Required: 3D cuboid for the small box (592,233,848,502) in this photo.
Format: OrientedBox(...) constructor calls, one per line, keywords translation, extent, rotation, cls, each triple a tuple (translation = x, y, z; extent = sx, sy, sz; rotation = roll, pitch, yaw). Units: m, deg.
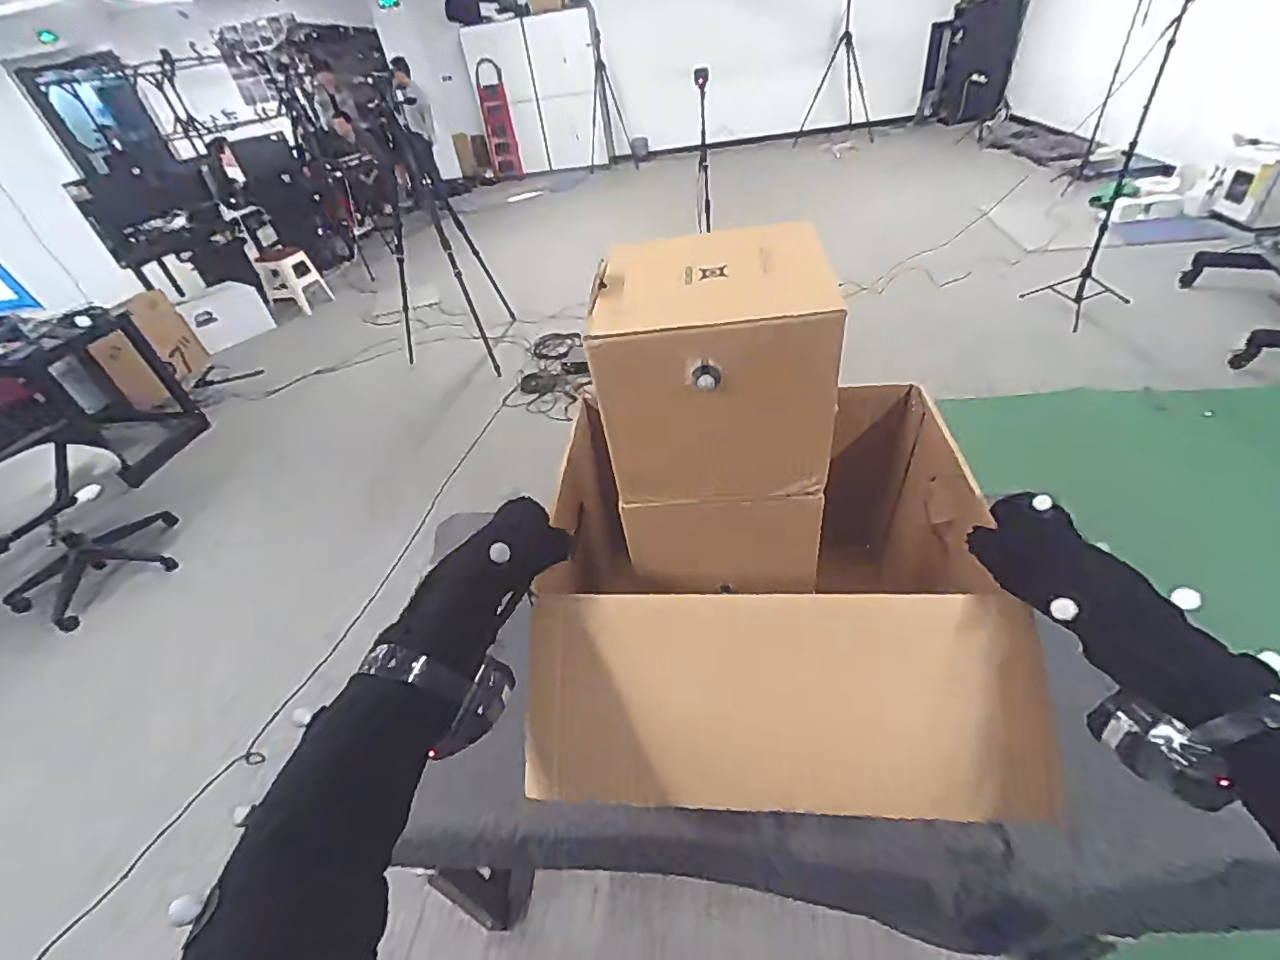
OrientedBox(translation=(0.068, -0.093, 0.474), extent=(0.179, 0.176, 0.168), rotation=(-3, 44, 8), cls="small box")
